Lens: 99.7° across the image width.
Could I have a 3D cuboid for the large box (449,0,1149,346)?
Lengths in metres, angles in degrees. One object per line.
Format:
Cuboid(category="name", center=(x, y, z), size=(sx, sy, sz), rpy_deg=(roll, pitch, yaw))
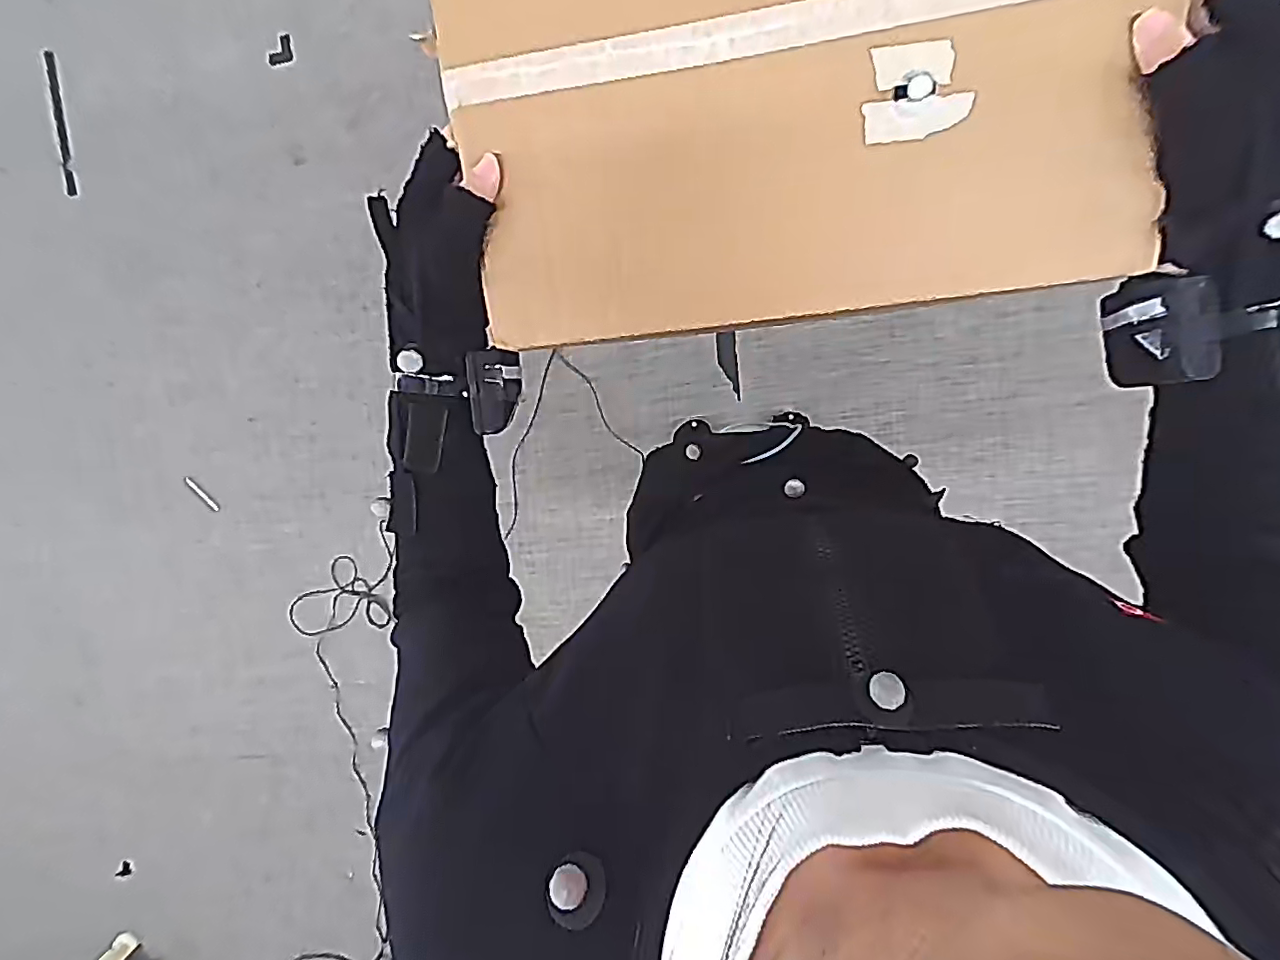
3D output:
Cuboid(category="large box", center=(0.096, -0.298, 0.464), size=(0.408, 0.320, 0.320), rpy_deg=(-6, 104, 6))
